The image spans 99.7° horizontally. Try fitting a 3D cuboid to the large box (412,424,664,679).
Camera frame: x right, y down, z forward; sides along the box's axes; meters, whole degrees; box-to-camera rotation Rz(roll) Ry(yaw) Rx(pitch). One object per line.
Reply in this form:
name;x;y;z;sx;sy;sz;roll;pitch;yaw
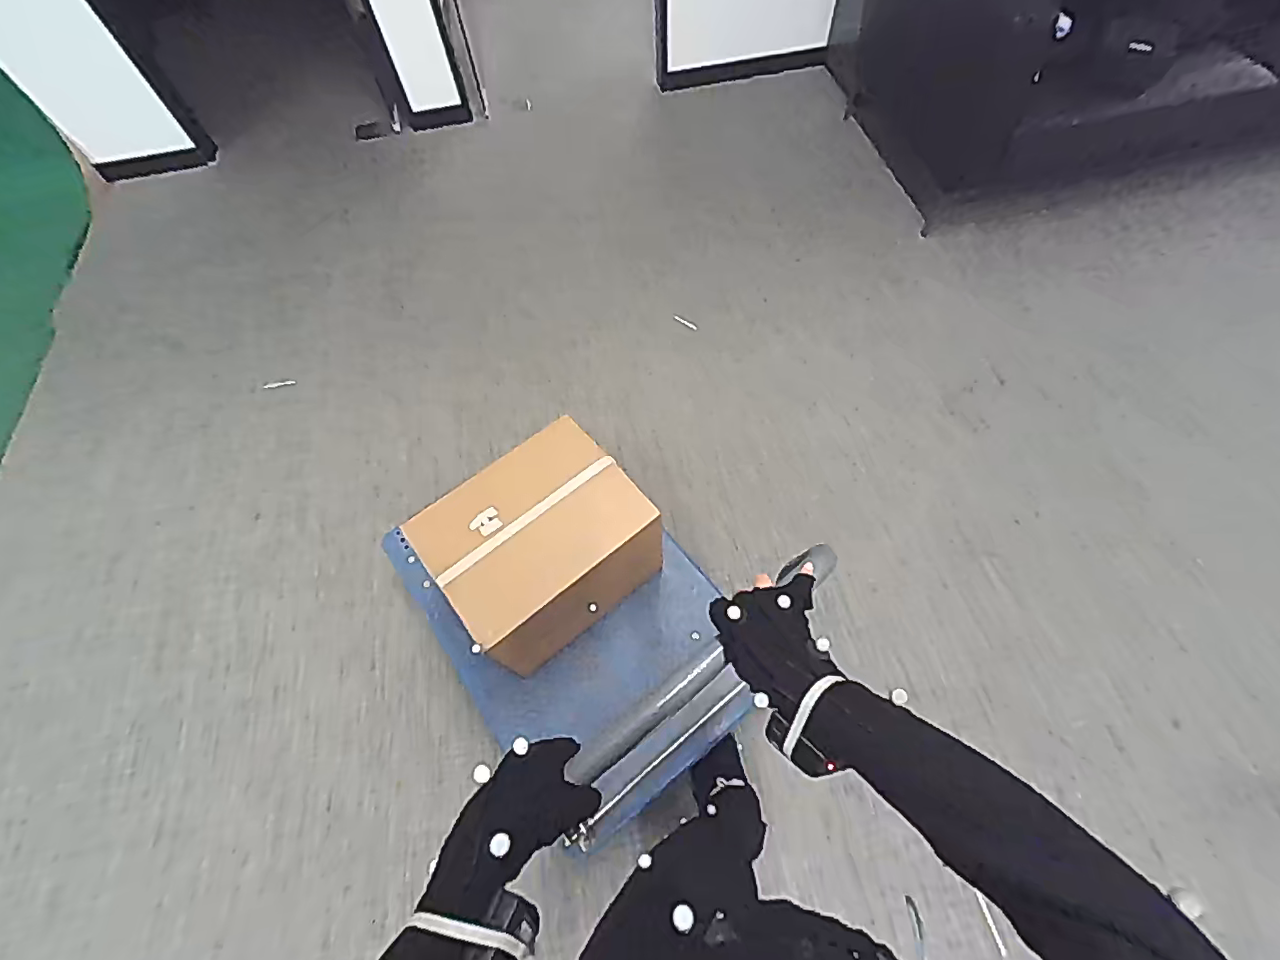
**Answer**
large box;-0.192;0.163;1.177;0.408;0.320;0.320;-38;66;-15
